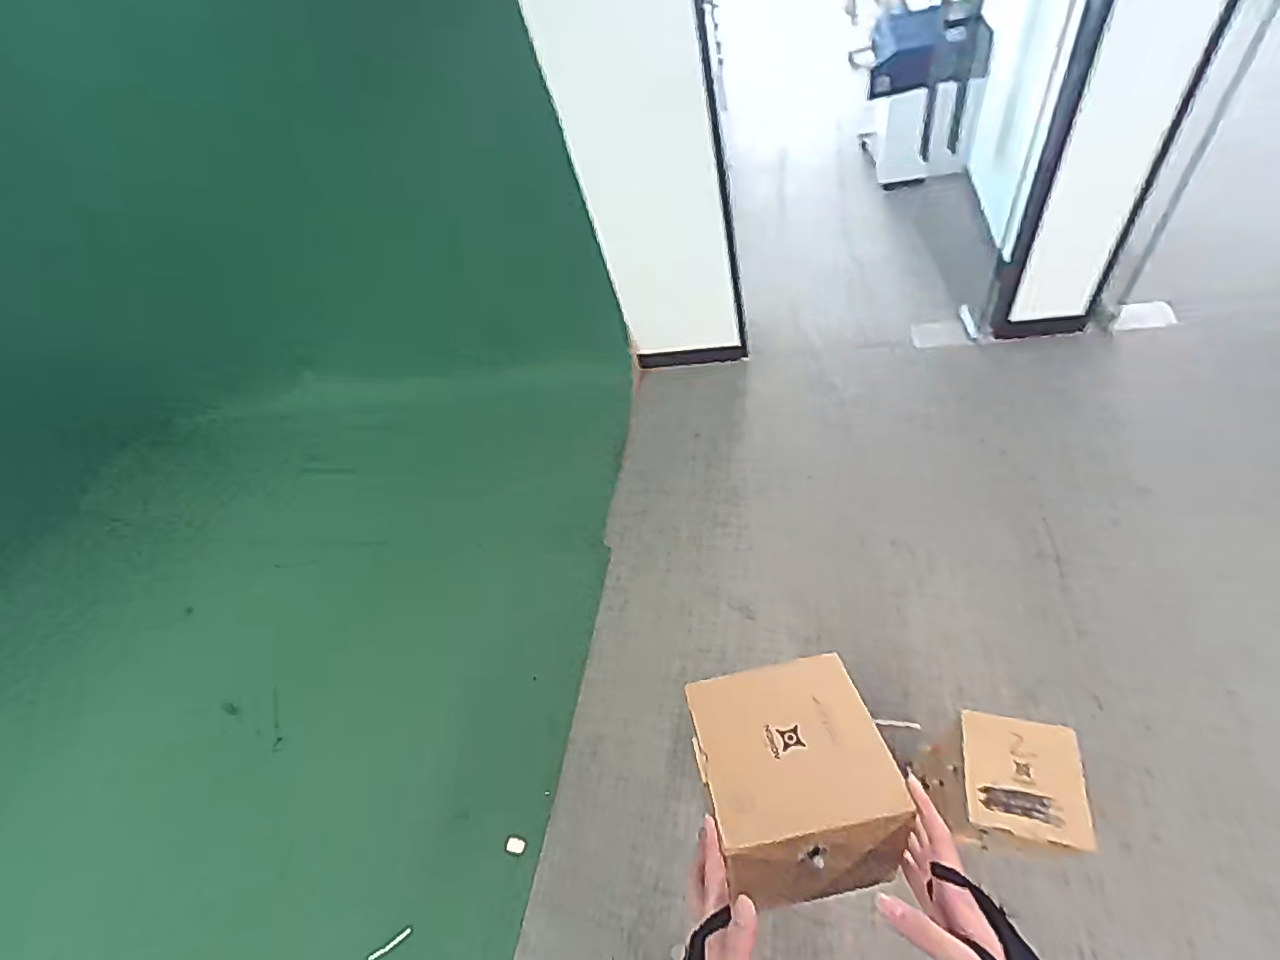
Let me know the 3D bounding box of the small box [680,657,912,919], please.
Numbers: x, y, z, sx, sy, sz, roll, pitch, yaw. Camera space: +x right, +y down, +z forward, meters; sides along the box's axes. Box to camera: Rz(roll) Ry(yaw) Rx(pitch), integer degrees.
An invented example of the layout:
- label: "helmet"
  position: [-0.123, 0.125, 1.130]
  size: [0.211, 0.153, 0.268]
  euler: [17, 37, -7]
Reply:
- label: "small box"
  position: [0.149, 0.318, 0.562]
  size: [0.179, 0.176, 0.168]
  euler: [-11, 35, -2]

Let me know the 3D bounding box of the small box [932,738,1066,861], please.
- label: "small box"
  position: [0.677, 0.618, 1.043]
  size: [0.168, 0.176, 0.179]
  euler: [-3, 52, 17]

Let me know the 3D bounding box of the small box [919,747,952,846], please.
- label: "small box"
  position: [0.716, 0.702, 1.176]
  size: [0.179, 0.176, 0.168]
  euler: [1, 54, 18]
